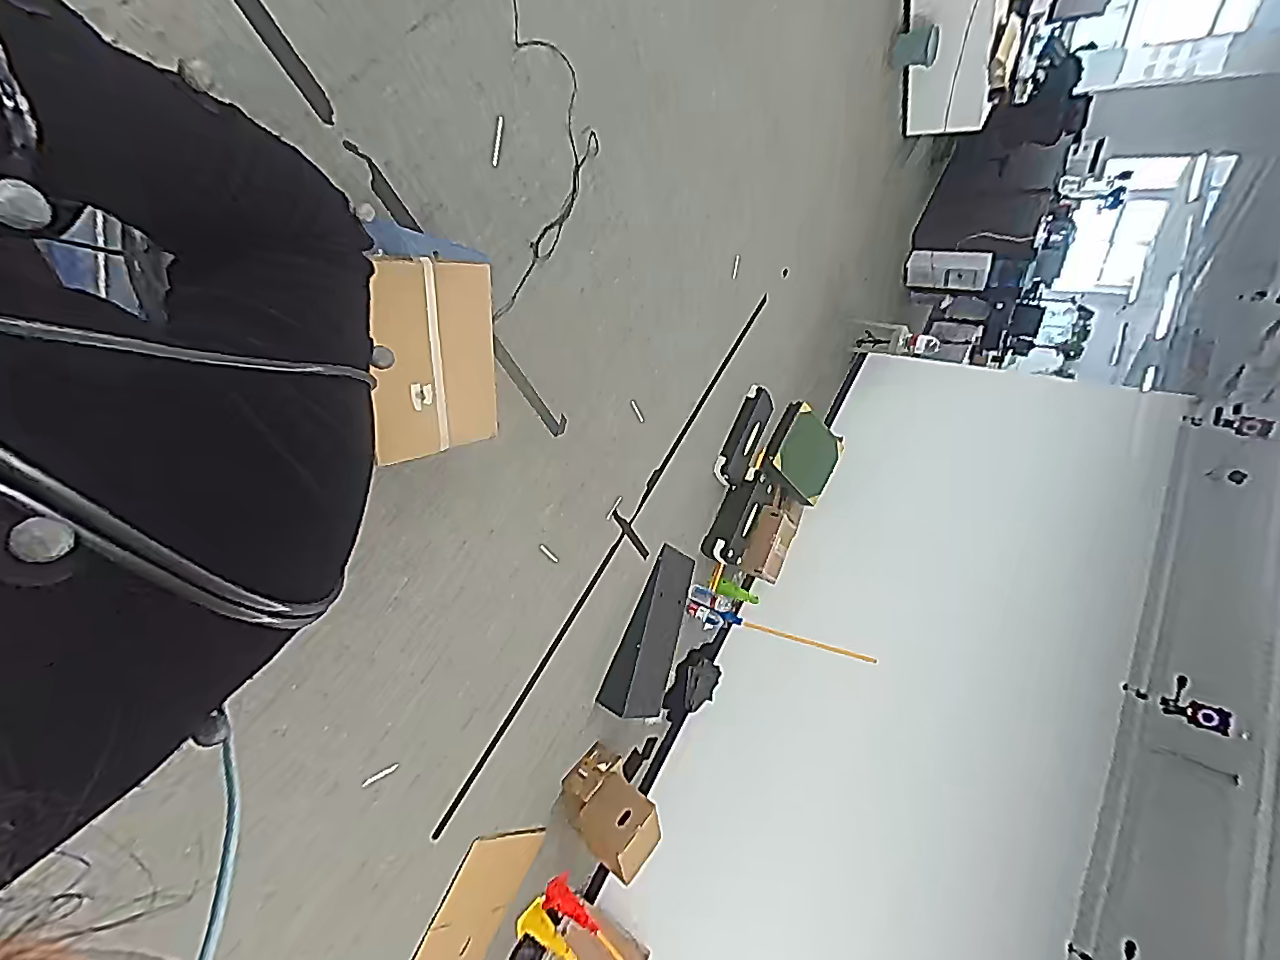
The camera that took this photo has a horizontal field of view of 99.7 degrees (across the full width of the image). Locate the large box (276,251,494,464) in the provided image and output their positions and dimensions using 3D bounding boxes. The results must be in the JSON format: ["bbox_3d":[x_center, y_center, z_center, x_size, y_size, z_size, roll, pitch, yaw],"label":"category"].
[{"bbox_3d":[-0.562,-0.297,1.232,0.320,0.320,0.408,-24,125,-48],"label":"large box"}]
